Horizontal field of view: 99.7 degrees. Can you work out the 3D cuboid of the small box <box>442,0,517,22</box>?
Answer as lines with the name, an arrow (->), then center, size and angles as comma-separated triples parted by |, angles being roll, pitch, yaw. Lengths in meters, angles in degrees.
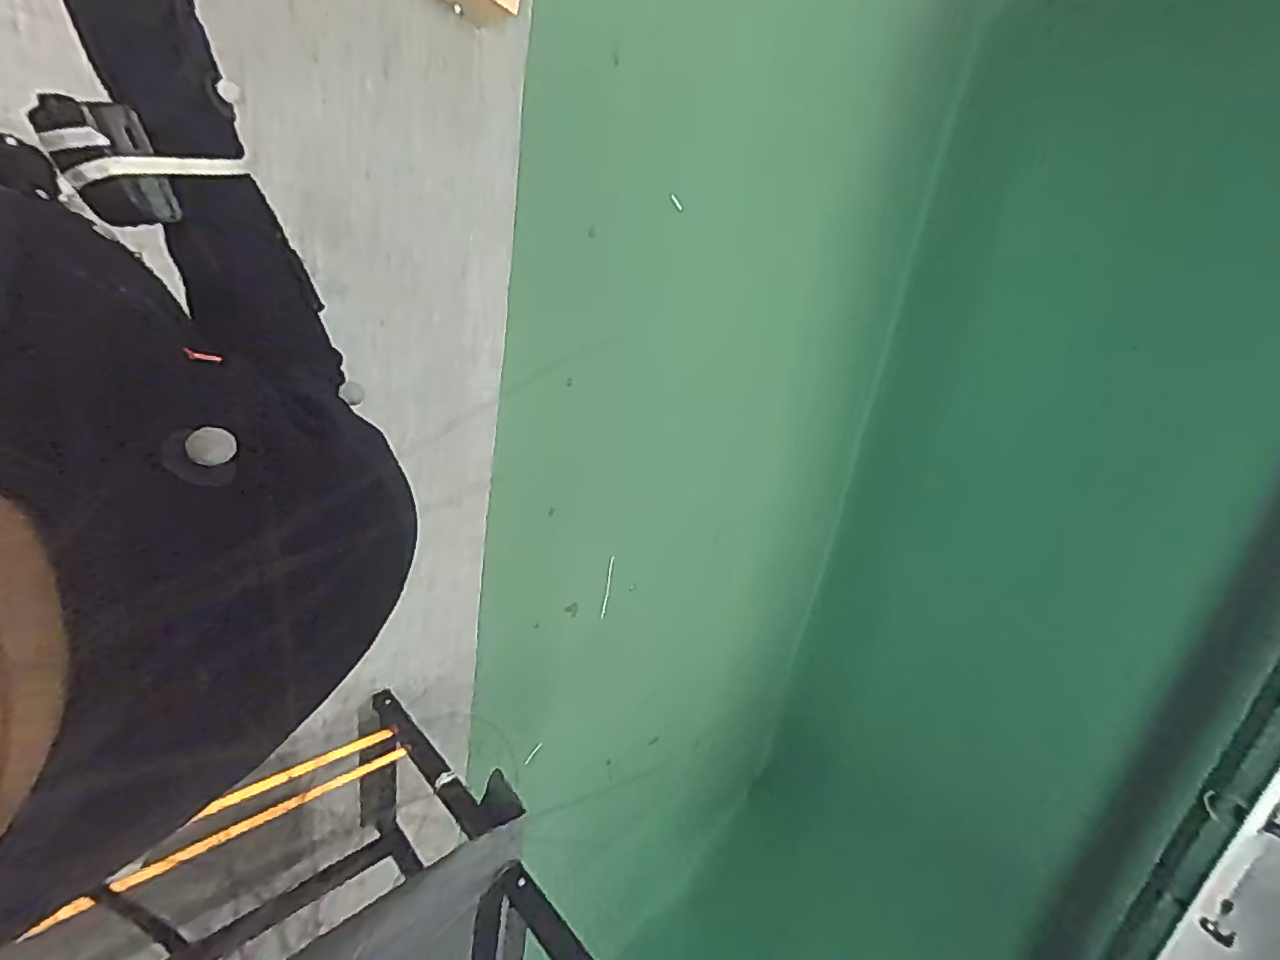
small box -> -0.382, -1.191, 1.222 | 0.168, 0.176, 0.179 | -4, 112, -48
